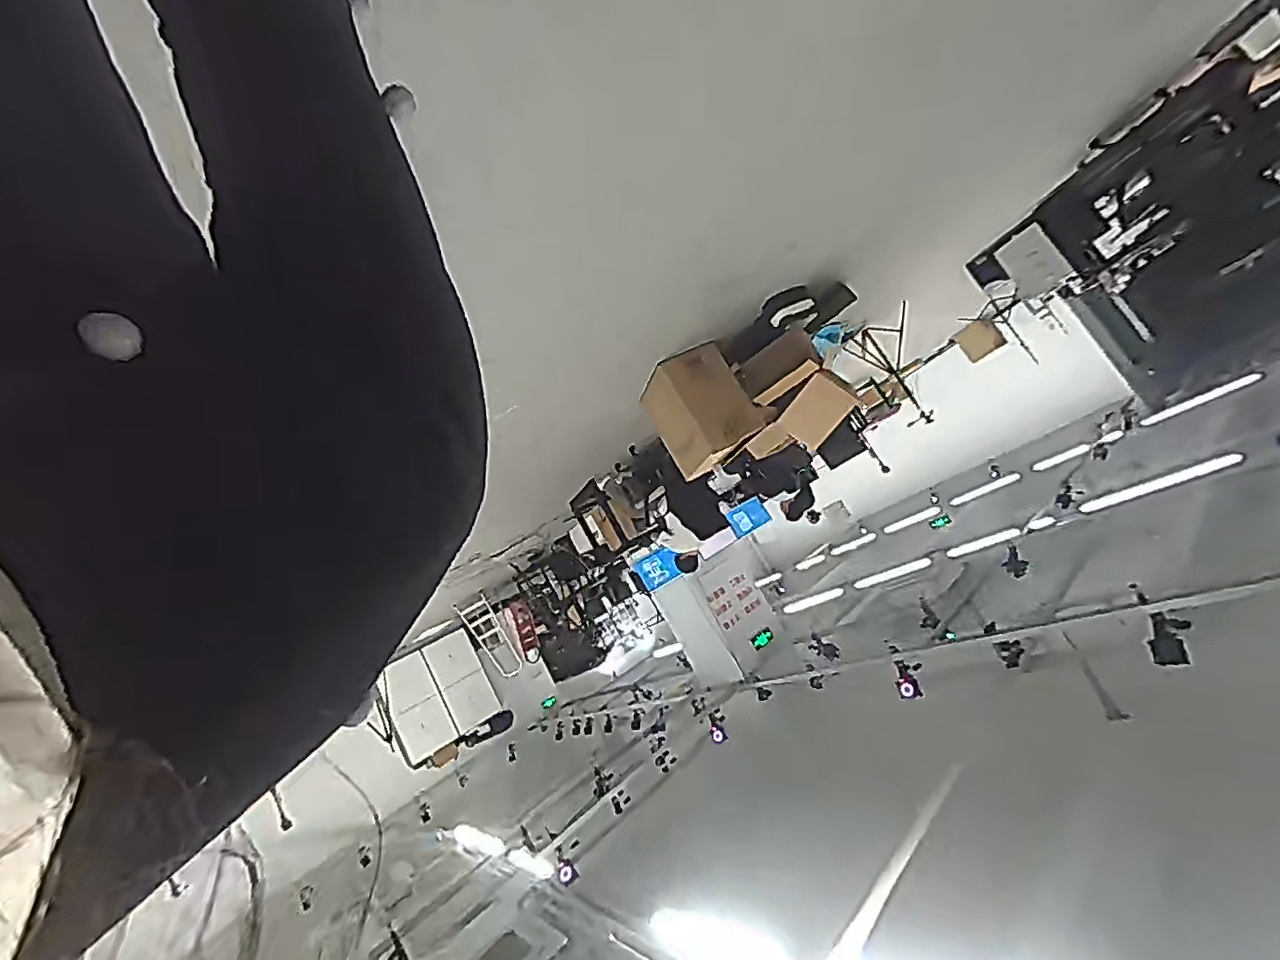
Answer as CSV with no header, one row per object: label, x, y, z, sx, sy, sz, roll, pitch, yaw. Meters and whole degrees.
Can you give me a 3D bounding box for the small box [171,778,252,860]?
small box,-1.456,1.142,1.836,0.179,0.176,0.168,-22,169,-37
